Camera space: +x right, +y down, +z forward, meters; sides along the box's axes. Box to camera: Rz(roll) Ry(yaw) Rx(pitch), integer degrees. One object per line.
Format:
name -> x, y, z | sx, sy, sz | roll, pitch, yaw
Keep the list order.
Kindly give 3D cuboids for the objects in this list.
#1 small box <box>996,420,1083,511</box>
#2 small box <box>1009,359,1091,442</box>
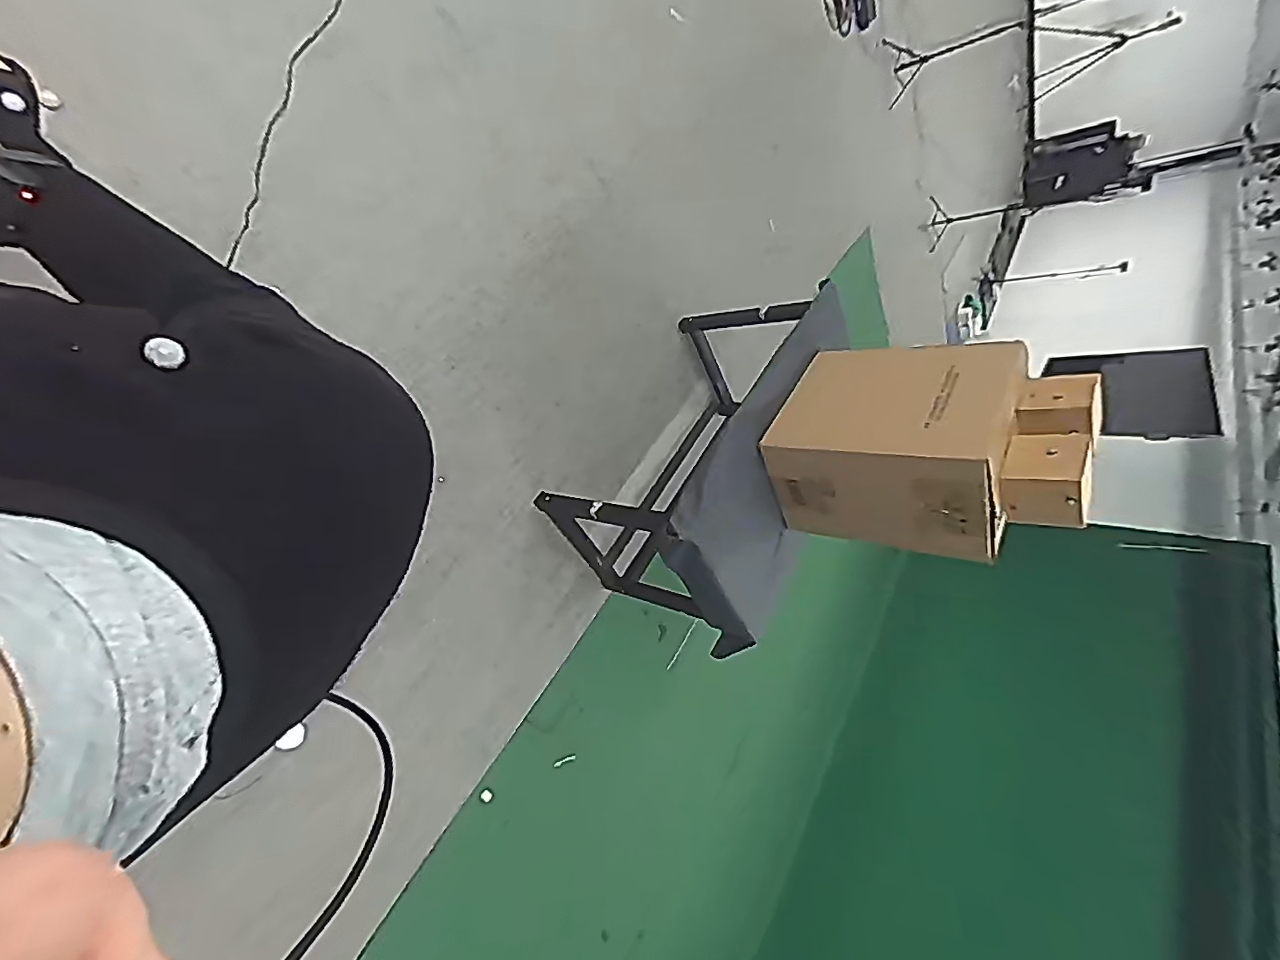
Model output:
small box -> 1.051, -0.037, 1.420 | 0.179, 0.176, 0.168 | -55, 127, -31
small box -> 1.177, -0.221, 1.551 | 0.168, 0.176, 0.179 | -50, 125, -31
